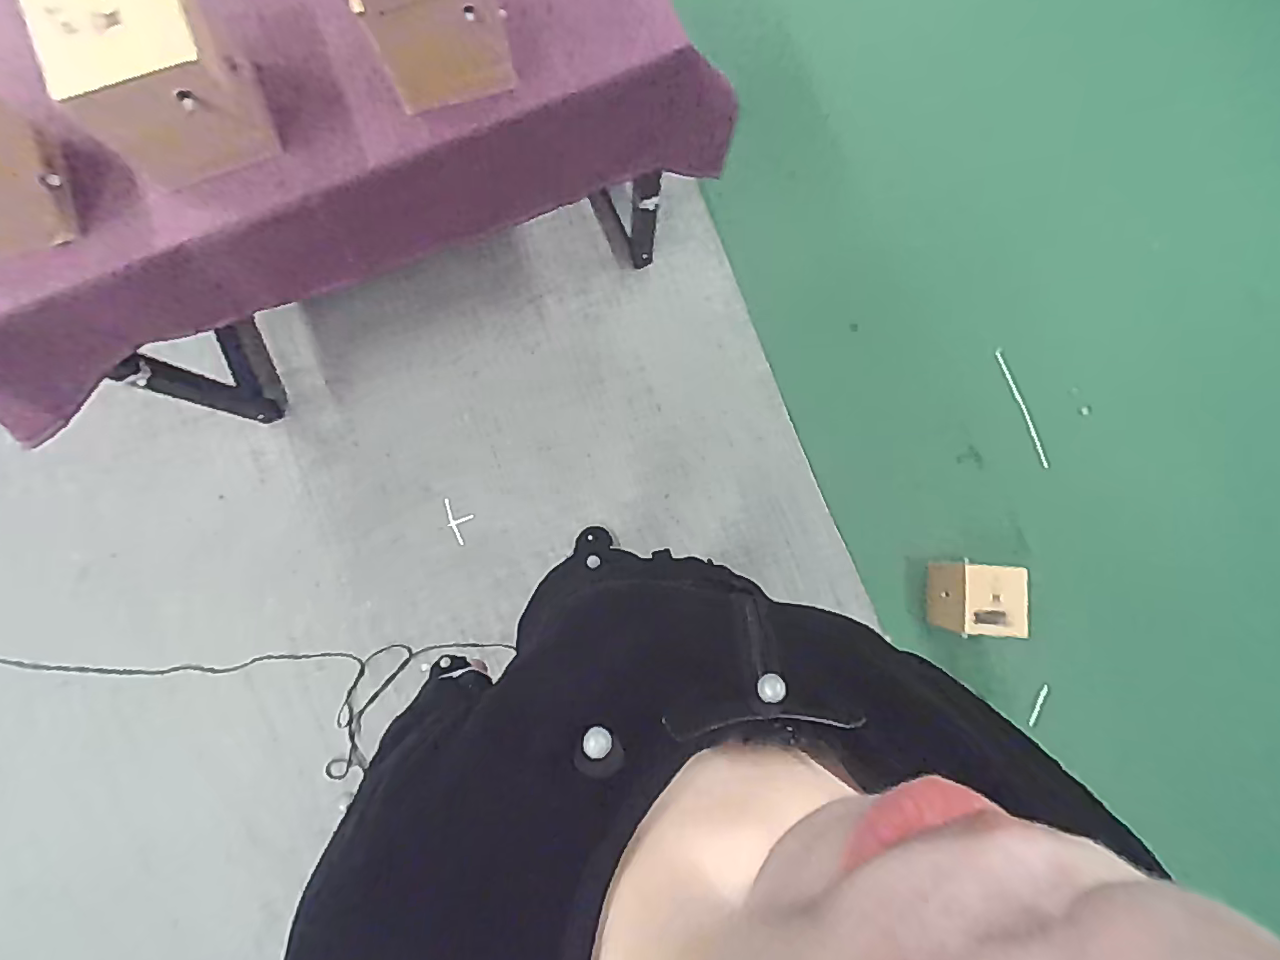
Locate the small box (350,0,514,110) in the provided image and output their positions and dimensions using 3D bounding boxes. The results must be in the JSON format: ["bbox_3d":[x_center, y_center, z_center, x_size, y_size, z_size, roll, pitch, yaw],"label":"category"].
[{"bbox_3d":[-0.293,-0.660,0.751,0.179,0.176,0.168,-17,86,-4],"label":"small box"}]

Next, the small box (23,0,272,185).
[{"bbox_3d":[-0.636,-0.539,0.724,0.179,0.176,0.168,-21,85,-4],"label":"small box"}]

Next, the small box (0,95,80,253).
[{"bbox_3d":[-0.908,-0.412,0.703,0.179,0.176,0.168,-16,86,-4],"label":"small box"}]
